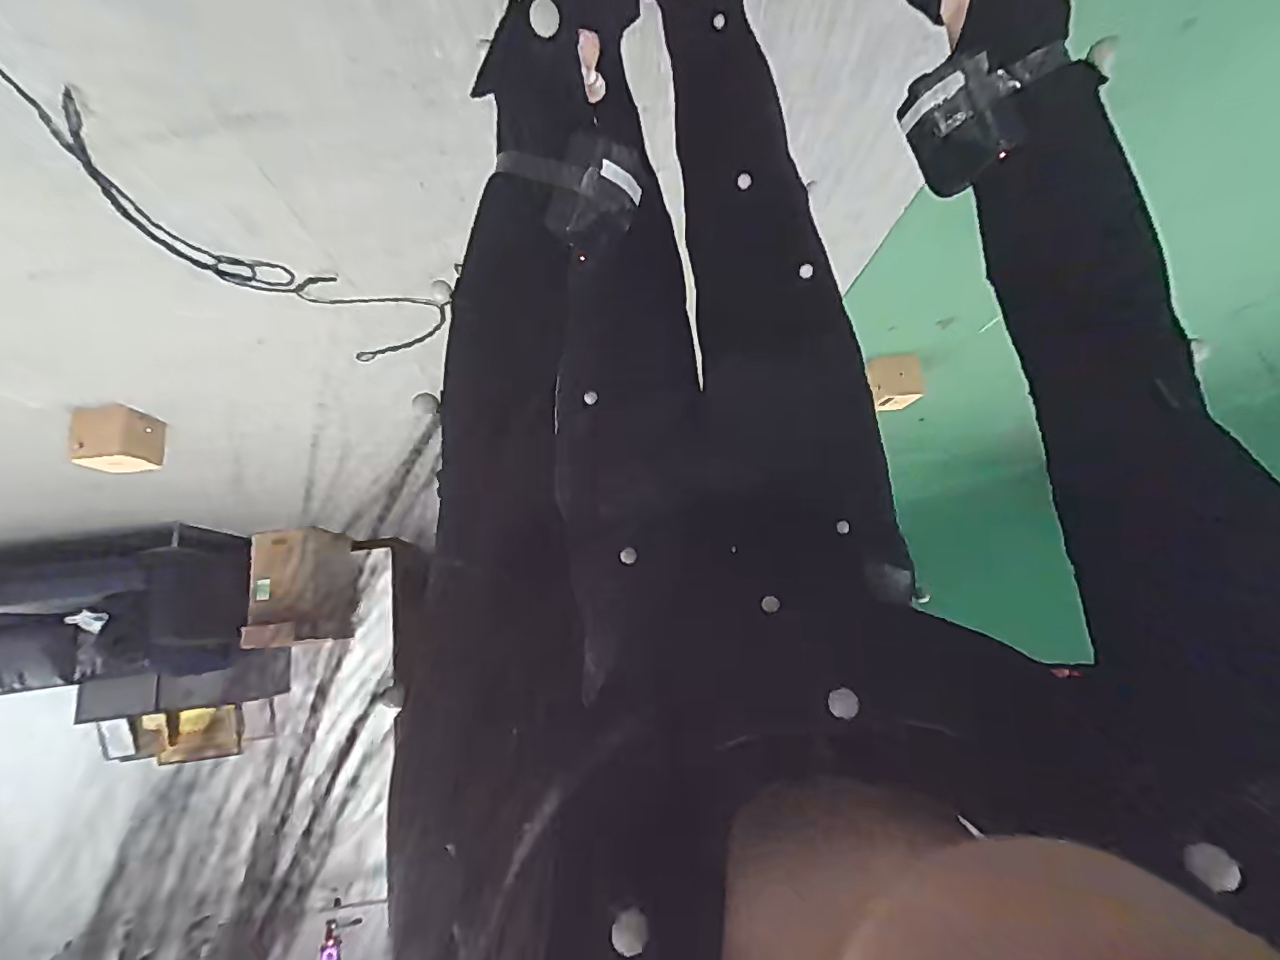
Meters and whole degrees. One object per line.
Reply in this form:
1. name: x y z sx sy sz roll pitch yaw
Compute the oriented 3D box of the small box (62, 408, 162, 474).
1. small box: -1.745 -0.128 1.798 0.179 0.176 0.168 -7 167 -2
